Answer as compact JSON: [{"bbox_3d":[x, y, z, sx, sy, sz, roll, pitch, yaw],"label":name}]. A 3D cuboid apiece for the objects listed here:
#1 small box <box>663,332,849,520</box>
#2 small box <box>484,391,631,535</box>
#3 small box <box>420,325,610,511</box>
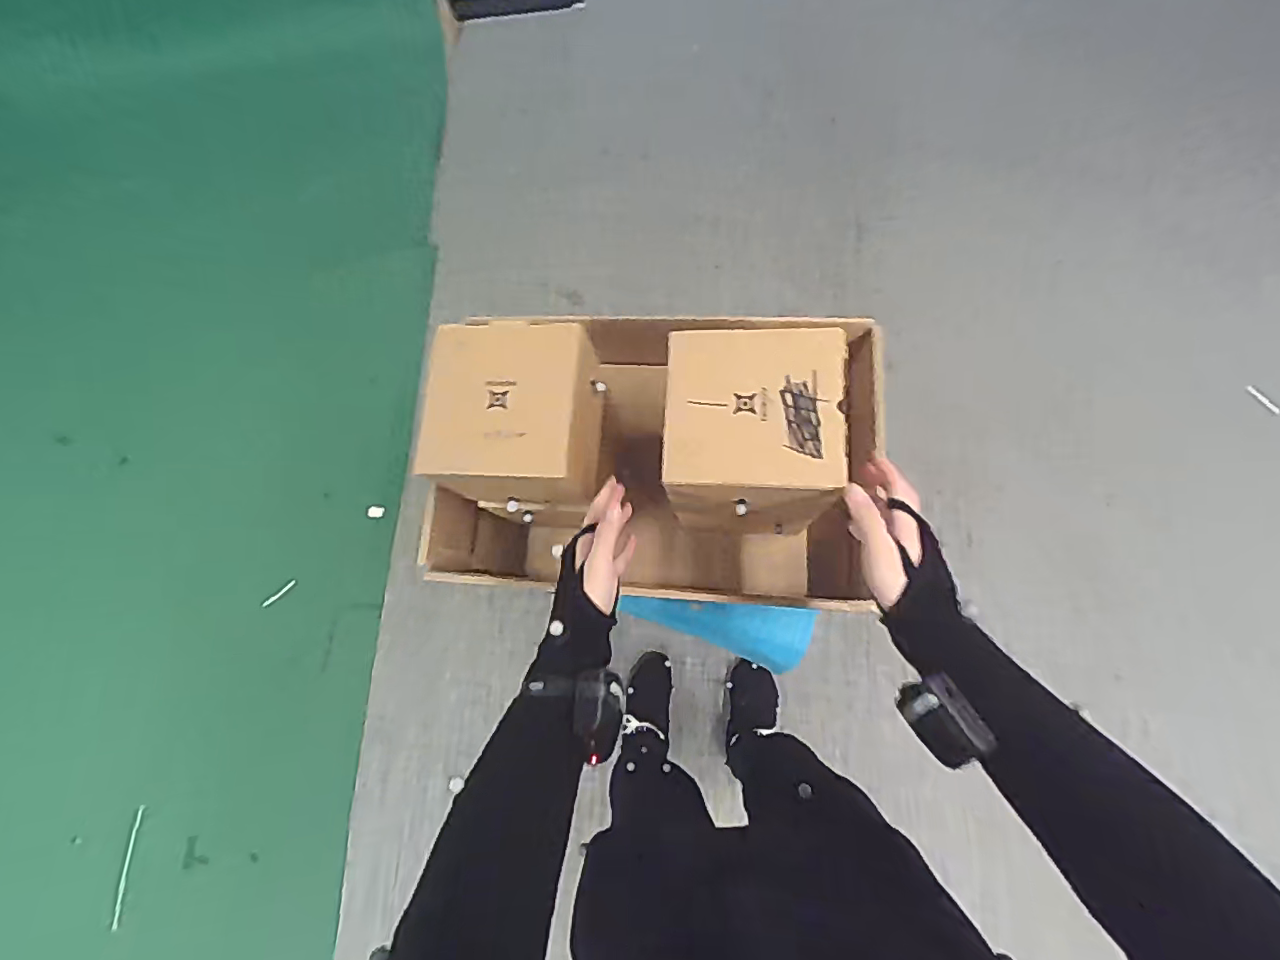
[{"bbox_3d":[0.126,-0.051,0.609,0.179,0.176,0.168,2,76,10],"label":"small box"},{"bbox_3d":[-0.111,-0.022,0.810,0.168,0.176,0.179,3,76,9],"label":"small box"},{"bbox_3d":[-0.135,-0.067,0.654,0.168,0.176,0.179,3,77,9],"label":"small box"}]
